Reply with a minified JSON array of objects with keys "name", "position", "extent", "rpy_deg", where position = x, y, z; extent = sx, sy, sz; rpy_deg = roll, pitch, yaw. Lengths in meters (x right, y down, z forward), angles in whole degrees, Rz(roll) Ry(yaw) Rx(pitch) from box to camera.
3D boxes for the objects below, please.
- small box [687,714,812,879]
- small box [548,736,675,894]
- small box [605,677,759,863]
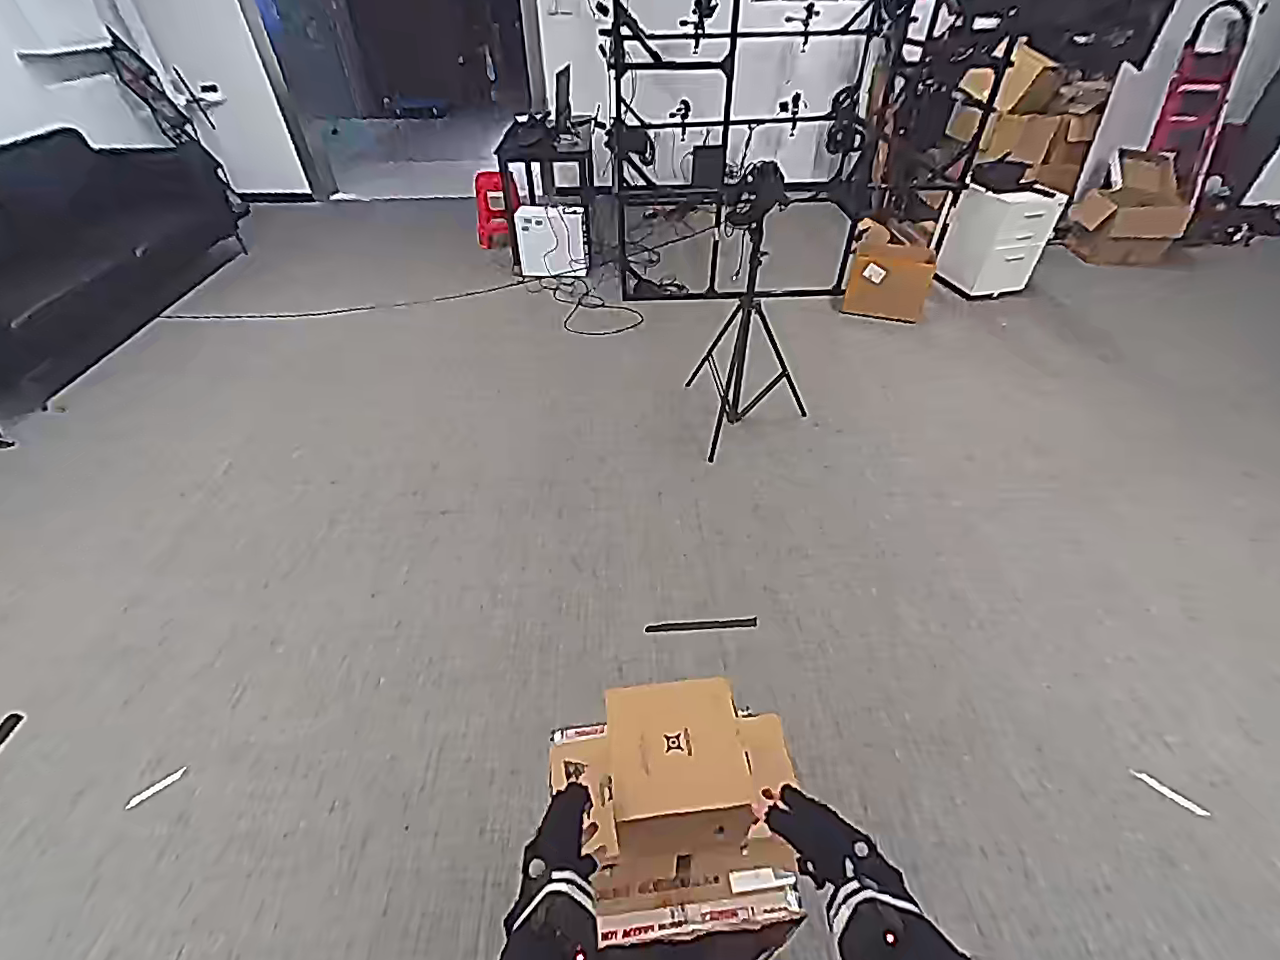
[{"name":"small box","position":[0.152,0.505,0.867],"extent":[0.168,0.176,0.179],"rpy_deg":[-3,41,-5]},{"name":"small box","position":[-0.044,0.522,0.850],"extent":[0.179,0.176,0.168],"rpy_deg":[-7,42,-6]},{"name":"small box","position":[0.047,0.397,0.742],"extent":[0.179,0.176,0.168],"rpy_deg":[-6,40,-5]}]
